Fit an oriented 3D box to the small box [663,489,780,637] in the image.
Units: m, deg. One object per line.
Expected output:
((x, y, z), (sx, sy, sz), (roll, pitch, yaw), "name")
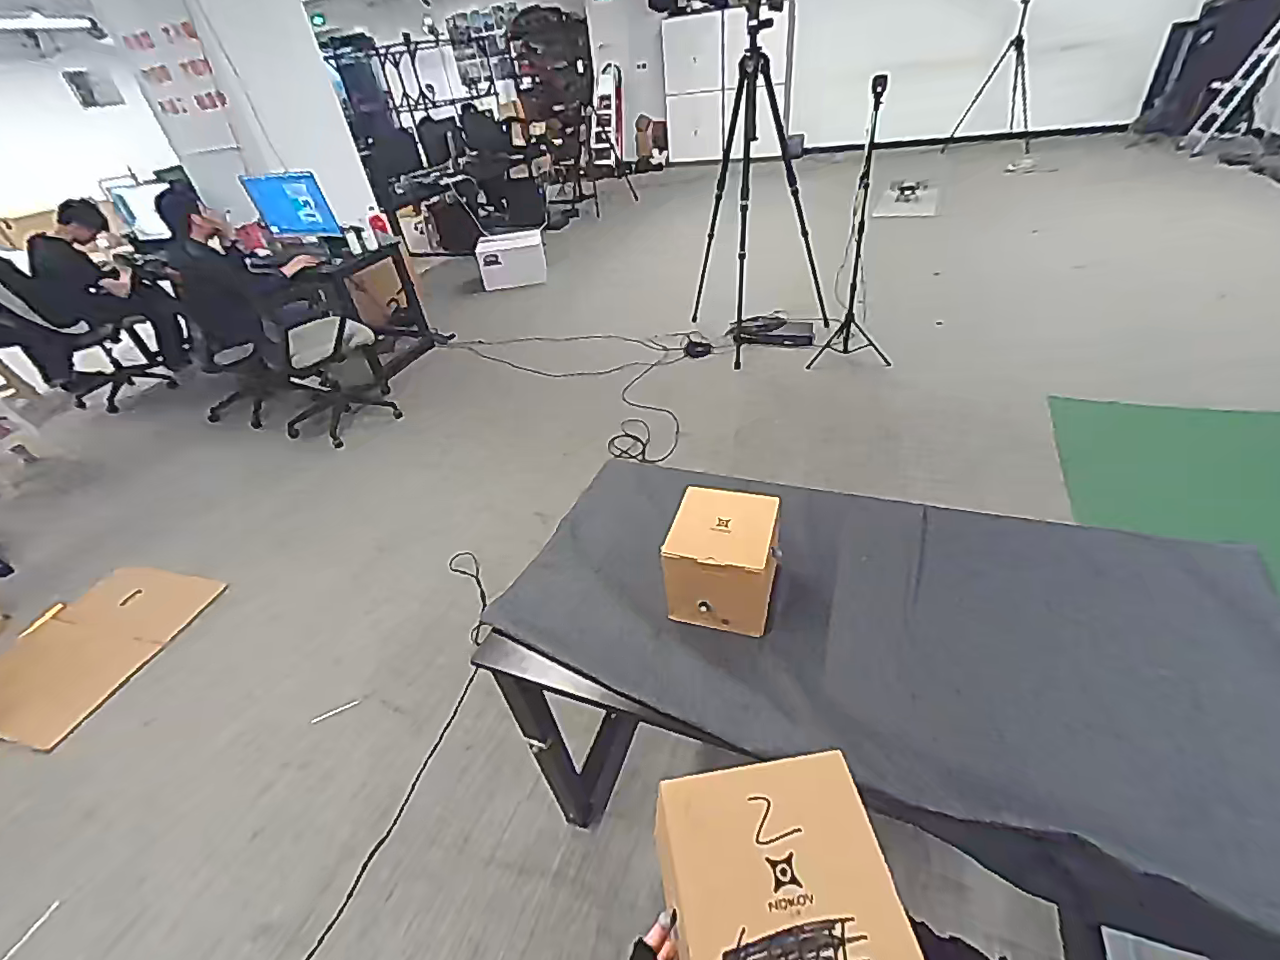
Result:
((0.147, 0.144, 0.955), (0.168, 0.176, 0.179), (8, 41, 18), "small box")
